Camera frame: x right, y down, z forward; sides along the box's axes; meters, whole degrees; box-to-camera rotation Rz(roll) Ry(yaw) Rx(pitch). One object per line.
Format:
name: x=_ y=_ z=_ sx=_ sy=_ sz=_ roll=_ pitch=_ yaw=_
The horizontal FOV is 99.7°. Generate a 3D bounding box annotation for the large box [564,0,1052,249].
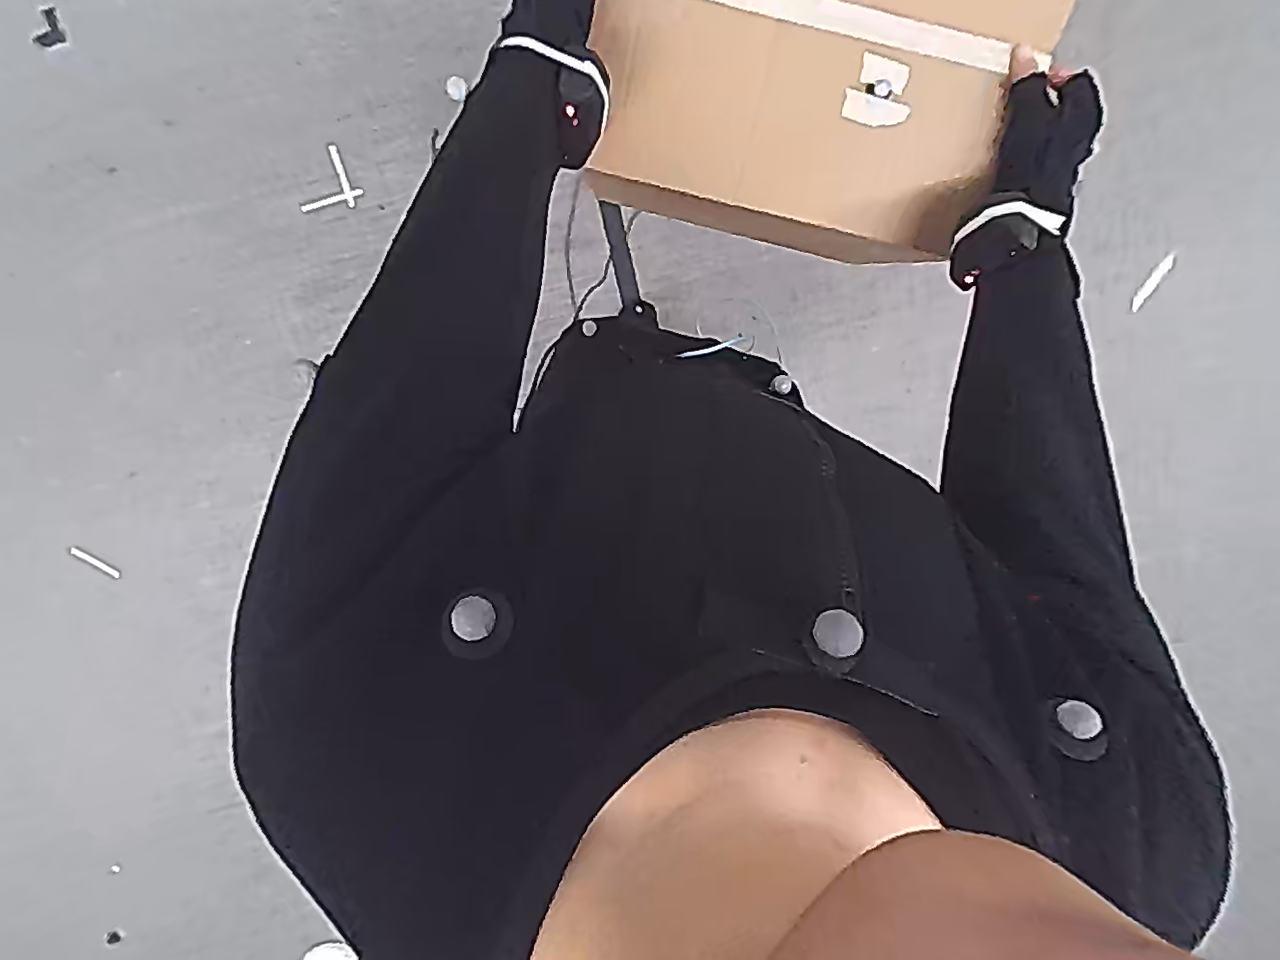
large box: x=0.152 y=-0.466 z=0.606 sx=0.408 sy=0.320 sz=0.320 roll=12 pitch=113 yaw=-3
